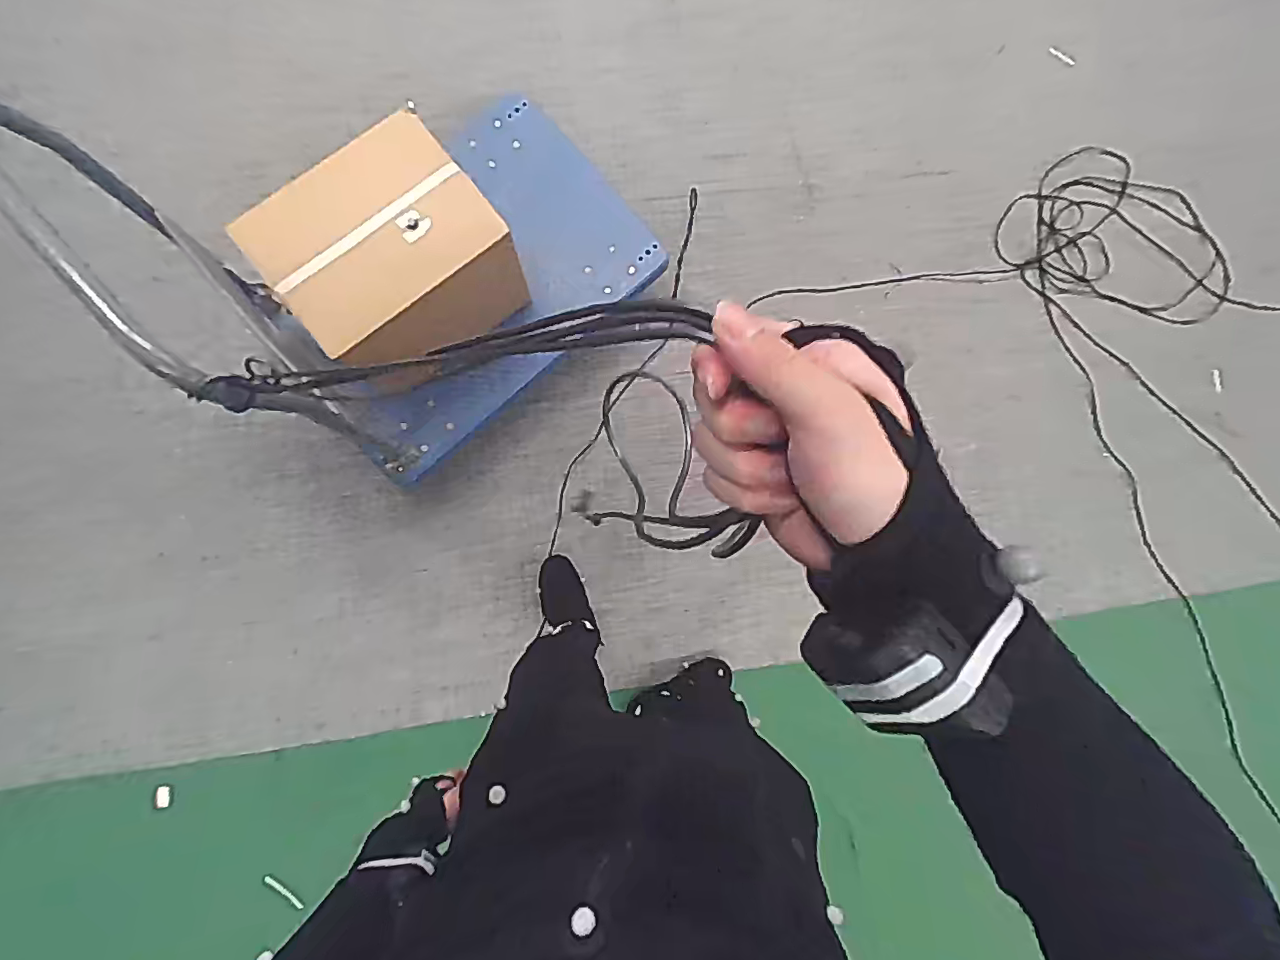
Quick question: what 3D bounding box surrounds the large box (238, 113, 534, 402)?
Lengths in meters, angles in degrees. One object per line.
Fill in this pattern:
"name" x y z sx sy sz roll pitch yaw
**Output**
"large box" -0.484 -0.429 1.126 0.408 0.320 0.320 -39 89 -7
